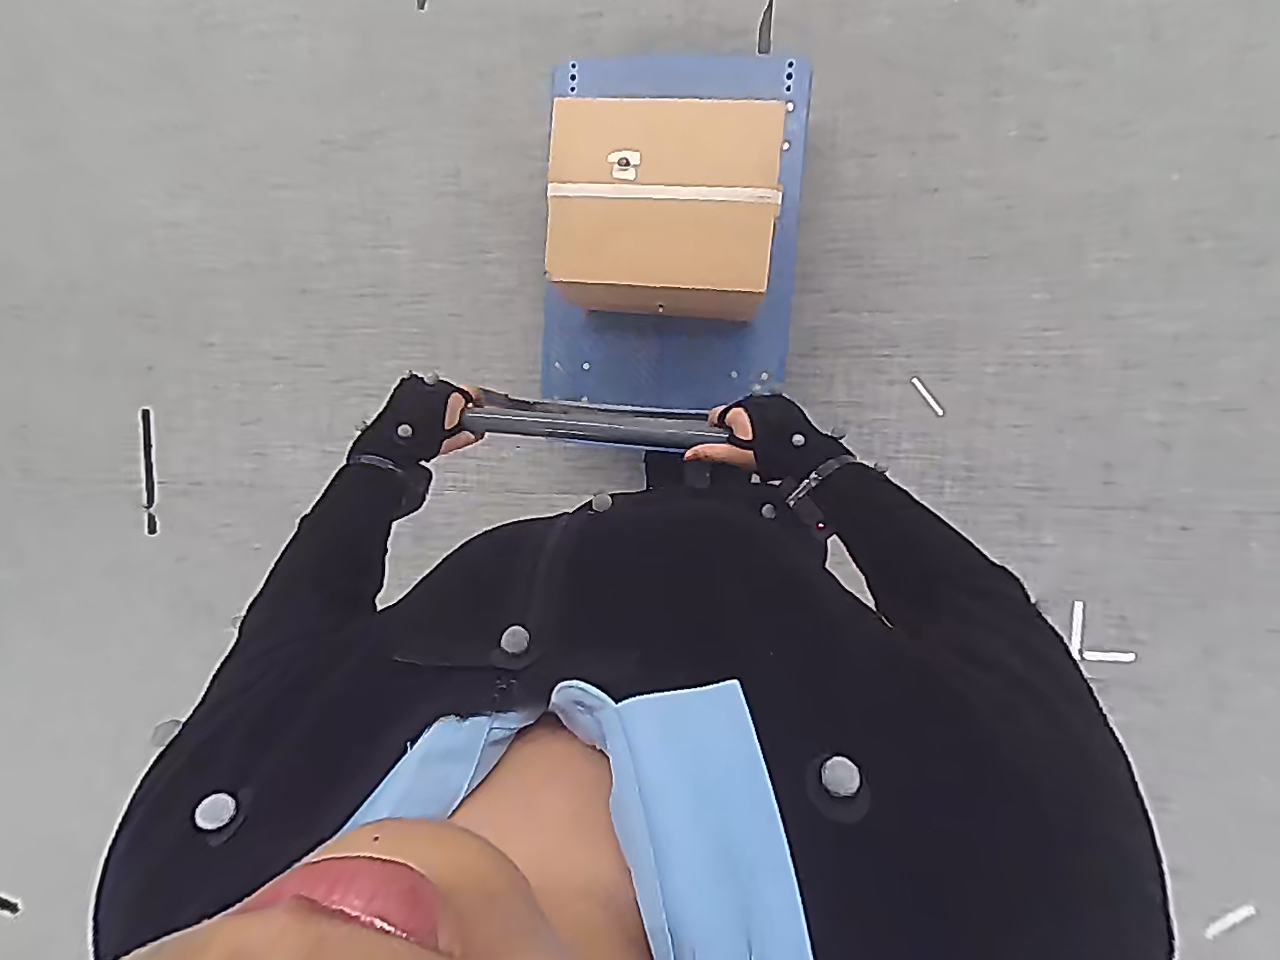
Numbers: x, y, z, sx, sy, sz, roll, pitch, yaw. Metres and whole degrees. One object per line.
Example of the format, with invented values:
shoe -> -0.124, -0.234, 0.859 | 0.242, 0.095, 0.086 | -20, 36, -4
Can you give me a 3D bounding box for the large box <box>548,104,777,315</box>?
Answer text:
large box -> 0.055, -0.526, 1.117 | 0.408, 0.320, 0.320 | 5, 97, 8
